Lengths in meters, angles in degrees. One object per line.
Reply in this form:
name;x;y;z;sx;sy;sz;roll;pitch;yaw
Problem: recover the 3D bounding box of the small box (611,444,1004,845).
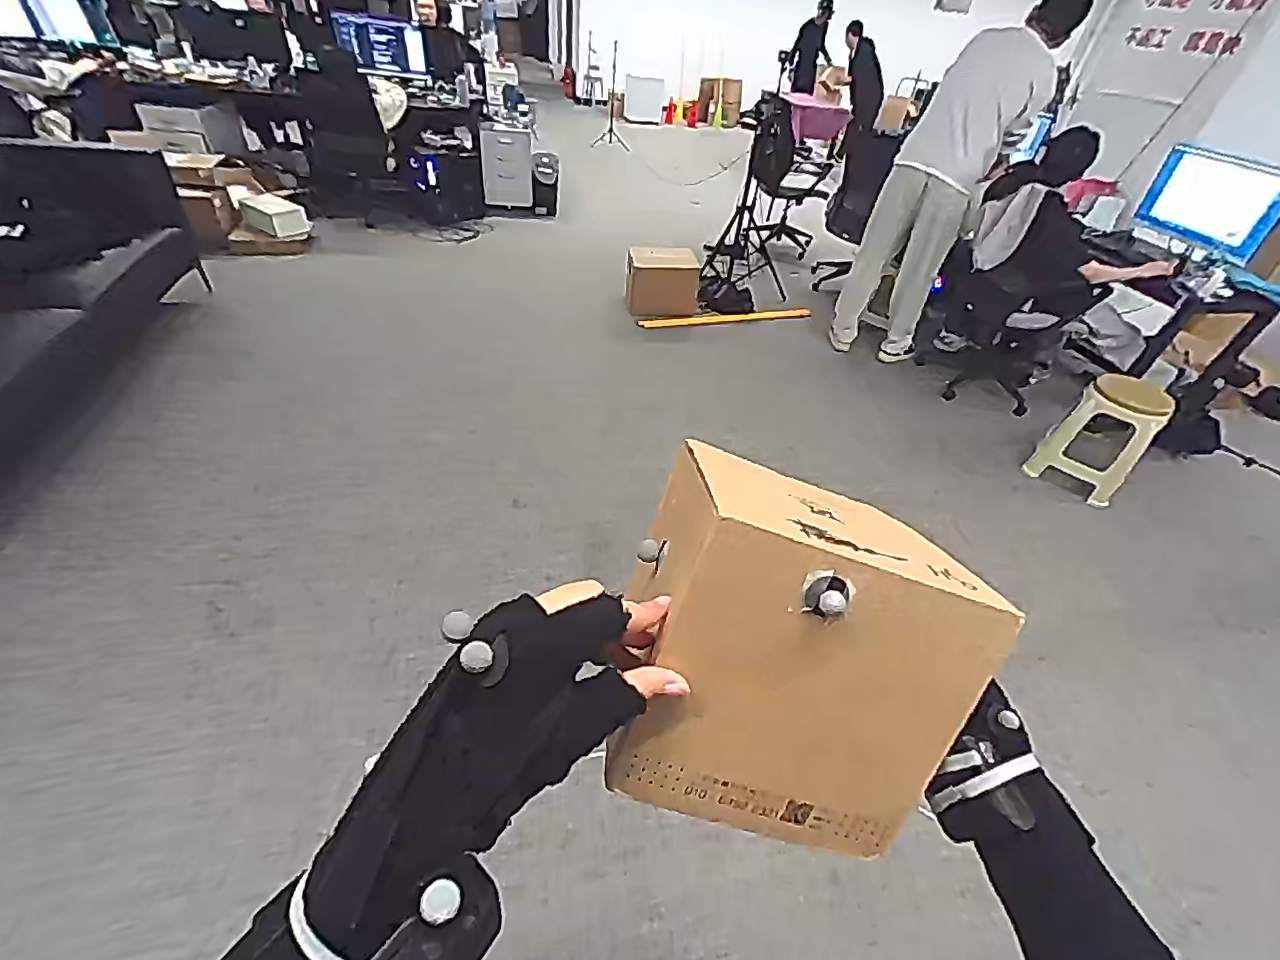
small box;0.084;0.094;0.369;0.168;0.176;0.179;18;14;-6
